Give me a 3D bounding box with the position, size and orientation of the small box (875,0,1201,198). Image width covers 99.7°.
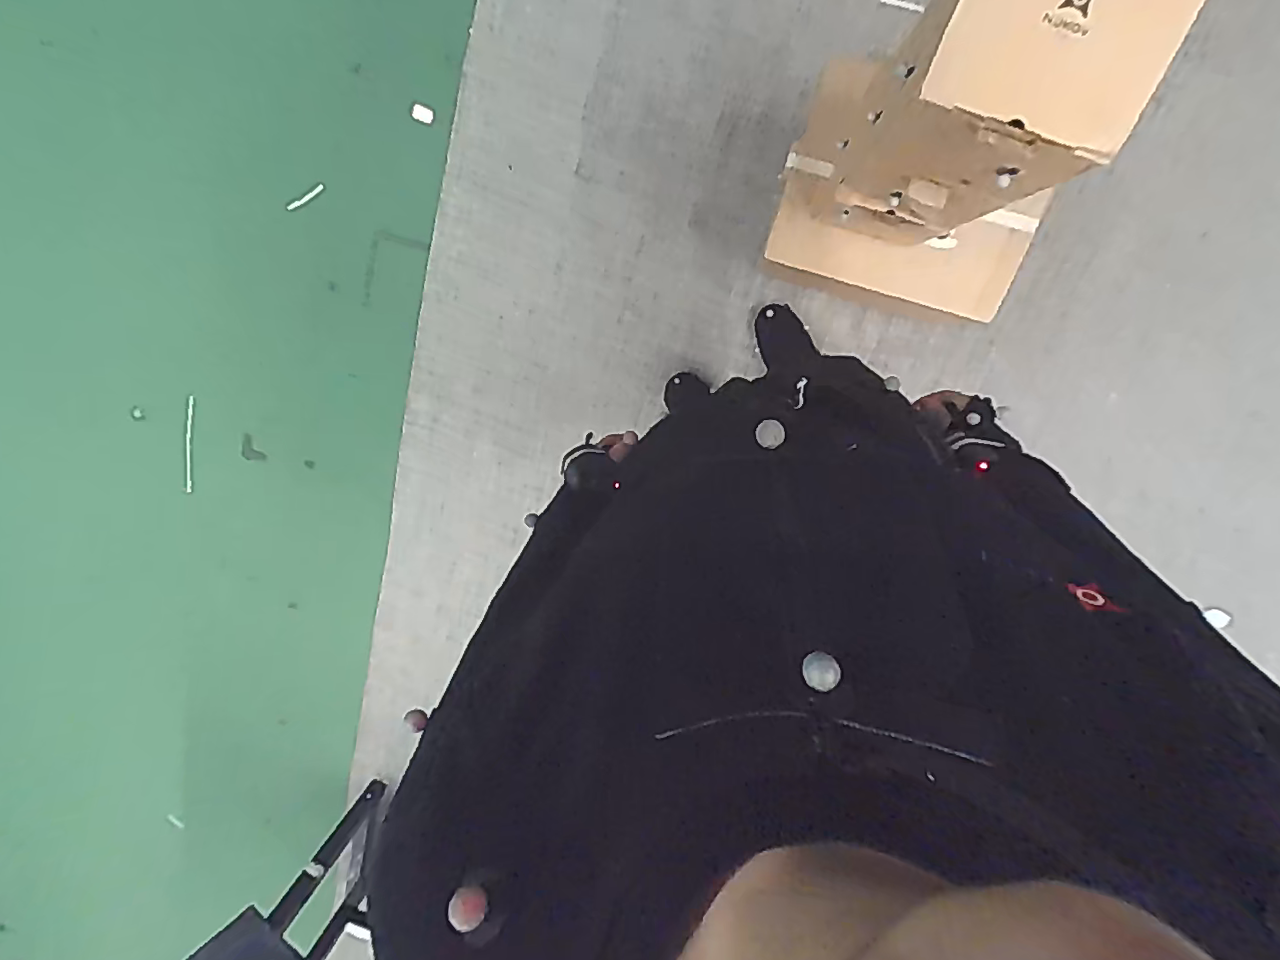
[{"bbox_3d":[0.332,-0.375,0.477,0.168,0.176,0.179,20,108,2],"label":"small box"}]

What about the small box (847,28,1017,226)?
[{"bbox_3d":[0.364,-0.422,0.629,0.168,0.176,0.179,22,109,2],"label":"small box"}]

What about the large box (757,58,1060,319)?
[{"bbox_3d":[0.465,-0.507,1.016,0.408,0.320,0.320,17,109,3],"label":"large box"}]
